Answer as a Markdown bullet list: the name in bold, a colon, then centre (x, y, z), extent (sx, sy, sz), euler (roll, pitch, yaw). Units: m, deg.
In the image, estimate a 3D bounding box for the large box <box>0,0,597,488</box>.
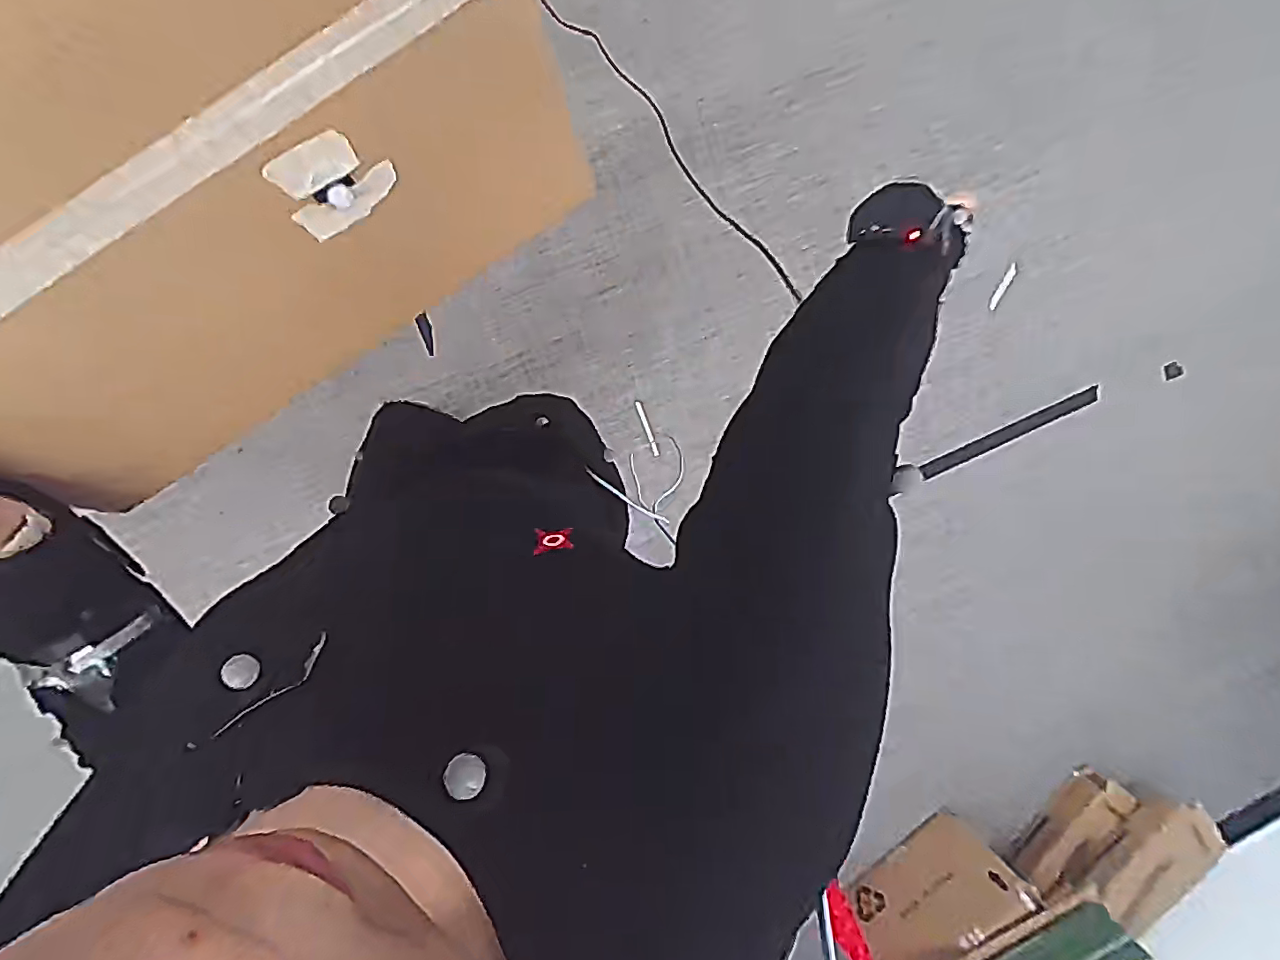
- **large box**: centre (-0.298, -0.263, 0.267), extent (0.408, 0.320, 0.320), euler (-36, 72, -1)
